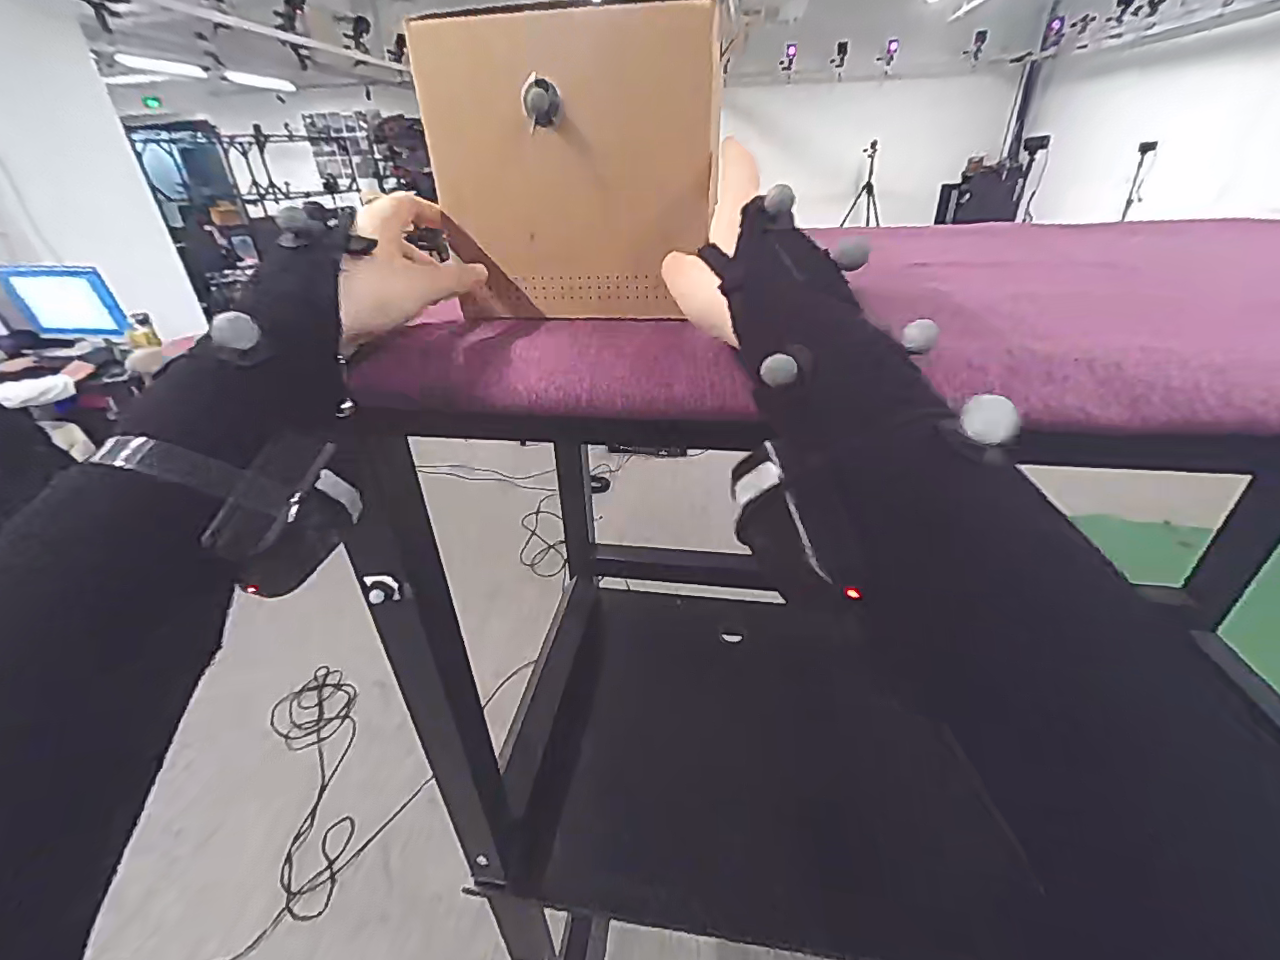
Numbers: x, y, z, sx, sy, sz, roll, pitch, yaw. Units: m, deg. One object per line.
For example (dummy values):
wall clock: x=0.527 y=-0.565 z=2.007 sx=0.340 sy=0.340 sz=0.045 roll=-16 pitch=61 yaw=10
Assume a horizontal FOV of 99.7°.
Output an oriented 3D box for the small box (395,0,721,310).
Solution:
small box: x=-0.035 y=-0.225 z=0.388 sx=0.179 sy=0.176 sz=0.168 roll=3 pitch=32 yaw=8
